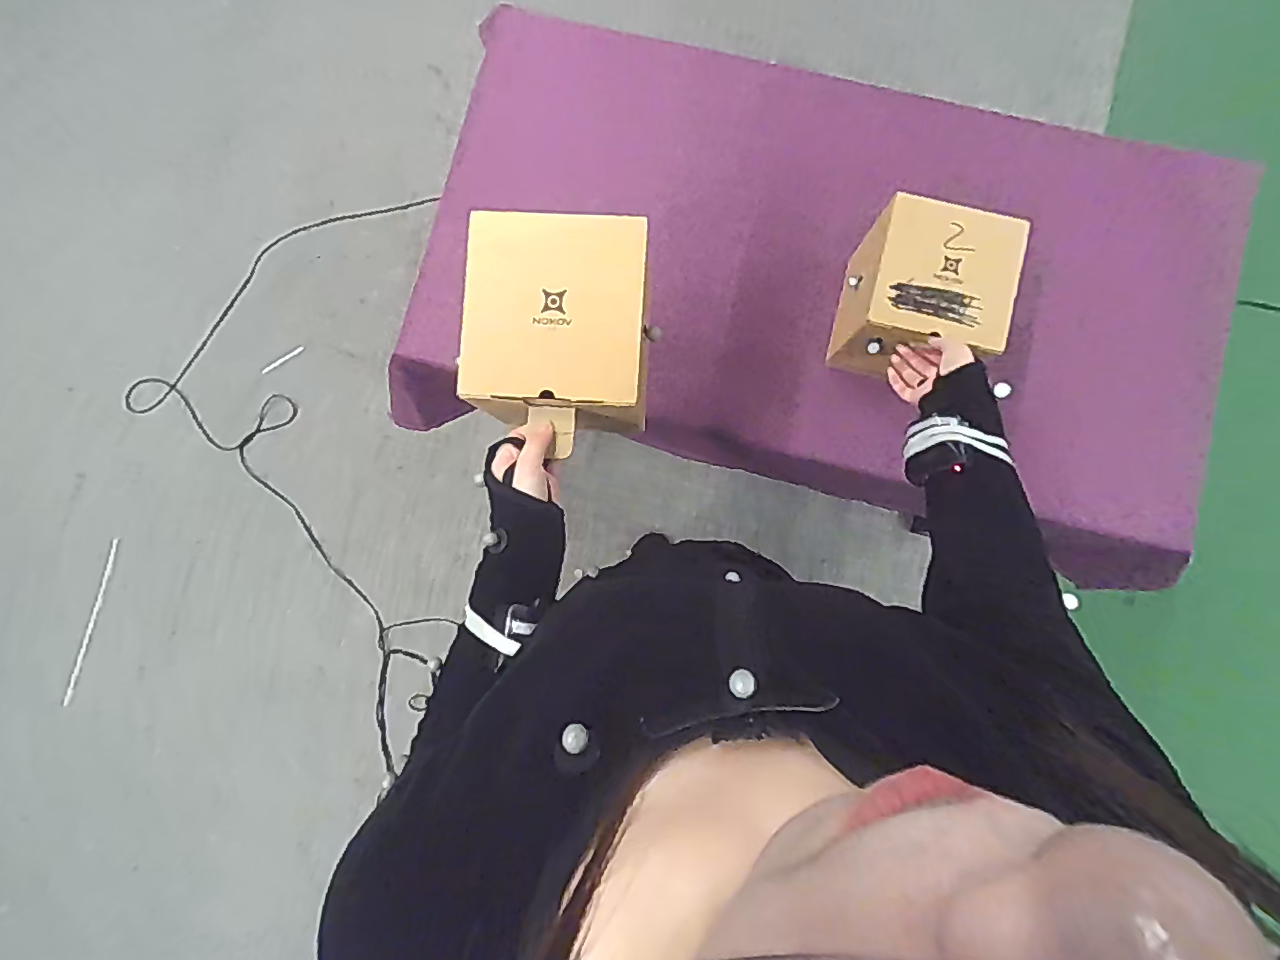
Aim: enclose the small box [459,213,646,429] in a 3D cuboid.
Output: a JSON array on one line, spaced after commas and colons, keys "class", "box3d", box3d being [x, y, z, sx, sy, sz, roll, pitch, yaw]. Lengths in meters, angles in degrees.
[{"class": "small box", "box3d": [-0.081, -0.158, 0.585, 0.168, 0.176, 0.179, 3, 88, 2]}]
